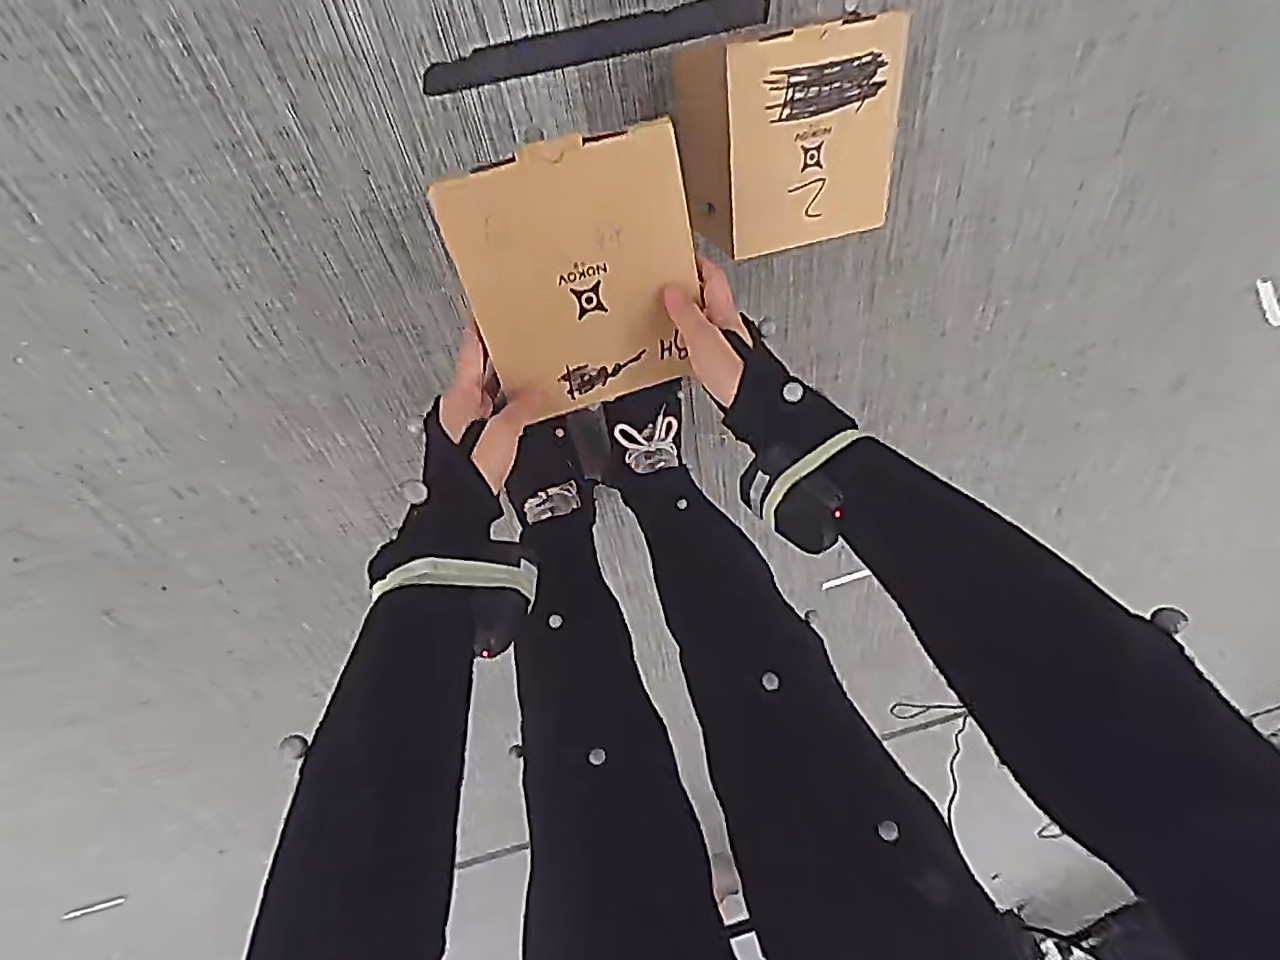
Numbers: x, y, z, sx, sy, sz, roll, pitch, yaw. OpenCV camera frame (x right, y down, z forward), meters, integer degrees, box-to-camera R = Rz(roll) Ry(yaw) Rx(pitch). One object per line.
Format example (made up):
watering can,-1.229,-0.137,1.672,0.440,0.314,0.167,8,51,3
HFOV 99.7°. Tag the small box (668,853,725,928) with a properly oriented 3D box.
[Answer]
small box,0.210,1.533,2.022,0.168,0.176,0.179,-16,128,-4

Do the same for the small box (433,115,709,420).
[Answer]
small box,-0.057,-0.178,0.453,0.168,0.176,0.179,-18,122,-6
